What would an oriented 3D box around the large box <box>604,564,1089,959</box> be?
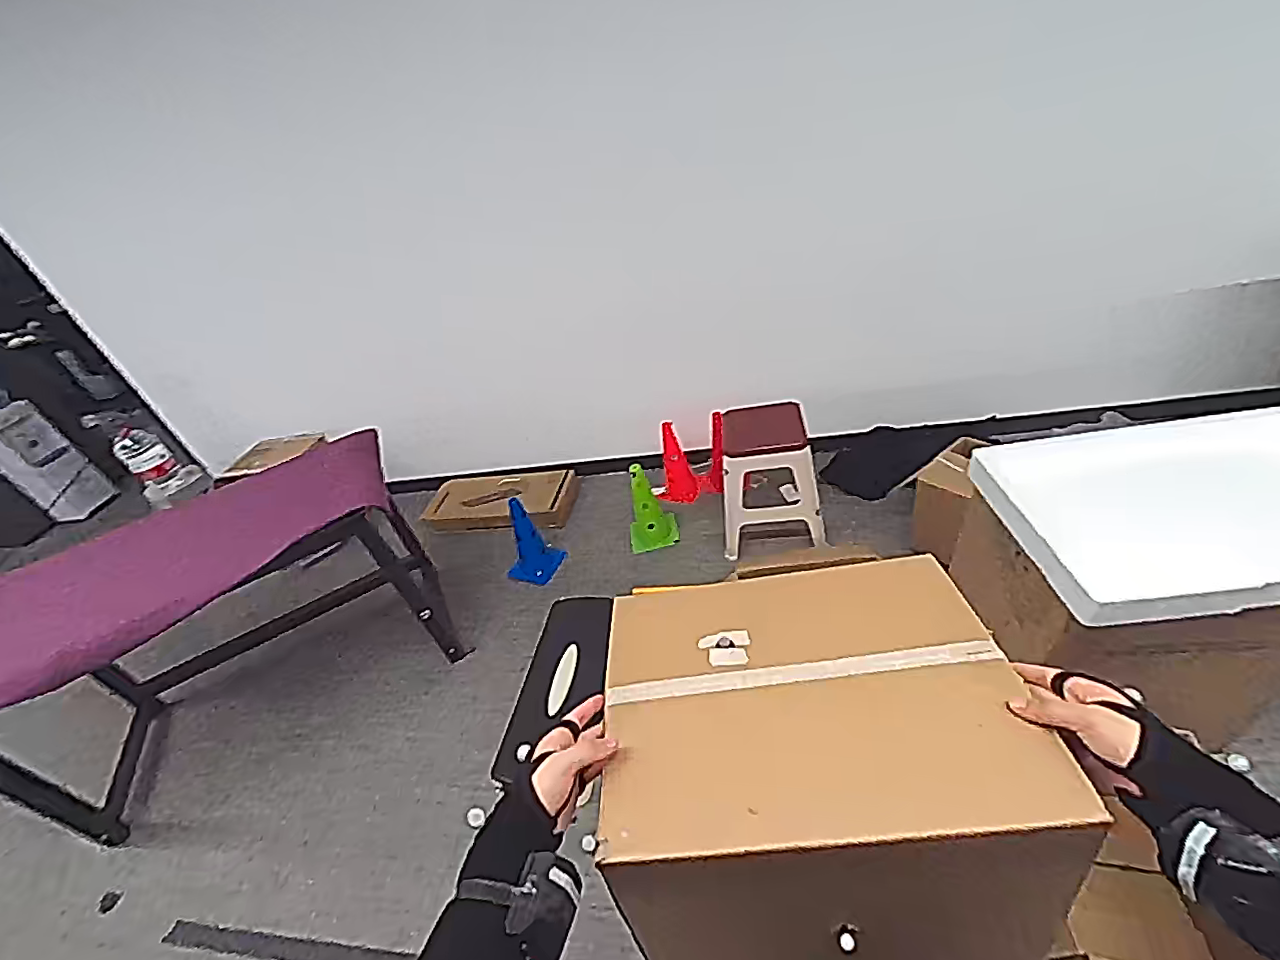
[{"bbox_3d":[0.193,0.345,0.645,0.408,0.320,0.320,-11,30,6],"label":"large box"}]
